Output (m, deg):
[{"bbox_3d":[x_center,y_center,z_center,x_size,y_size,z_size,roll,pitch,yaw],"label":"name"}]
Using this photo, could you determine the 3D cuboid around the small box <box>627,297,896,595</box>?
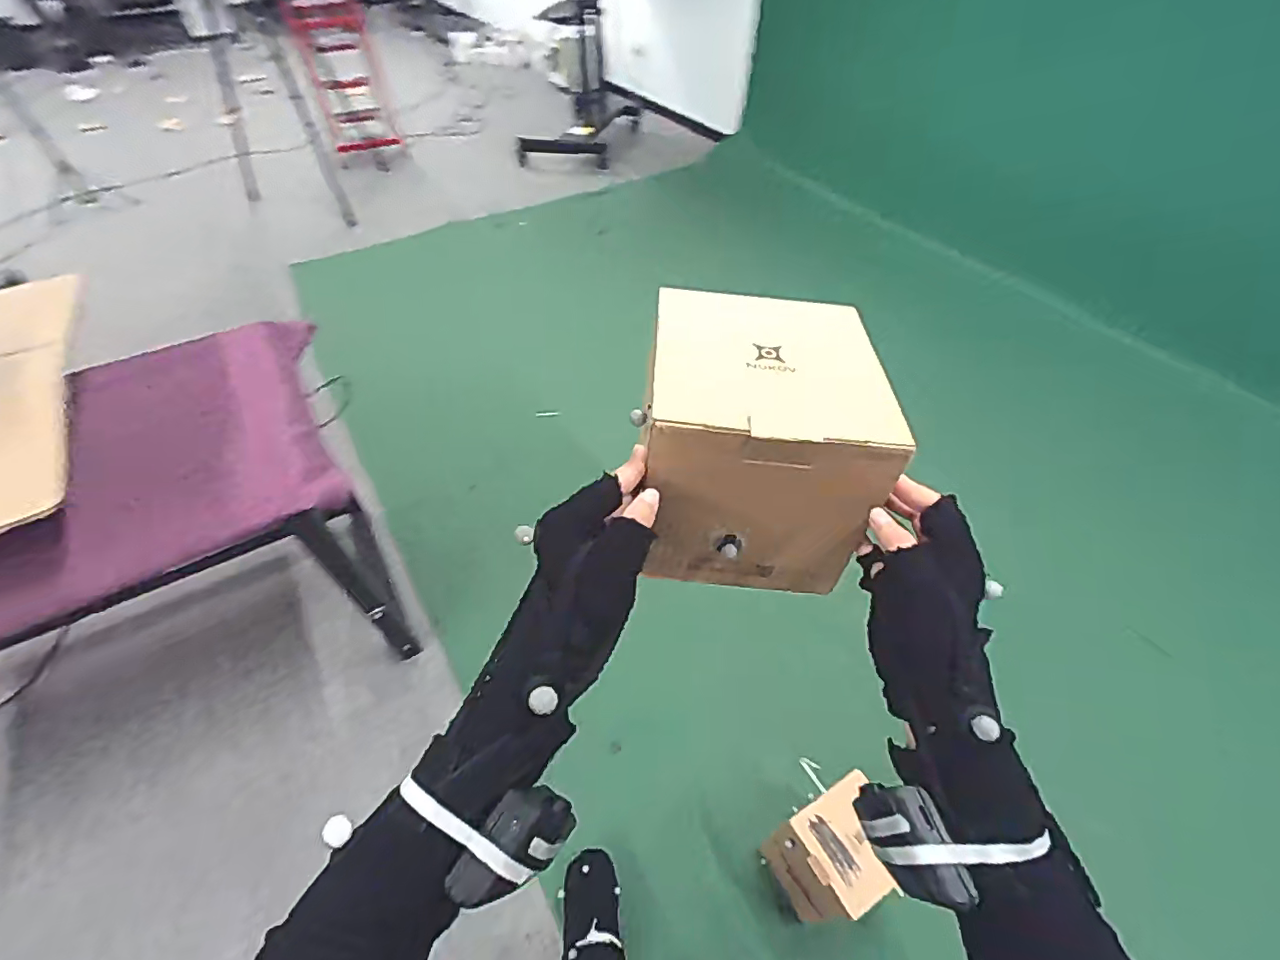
[{"bbox_3d":[0.078,-0.028,0.454,0.168,0.176,0.179,5,46,-2],"label":"small box"}]

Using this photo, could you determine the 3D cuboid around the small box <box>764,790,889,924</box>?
[{"bbox_3d":[0.379,0.797,1.139,0.179,0.176,0.168,-23,54,-19],"label":"small box"}]
